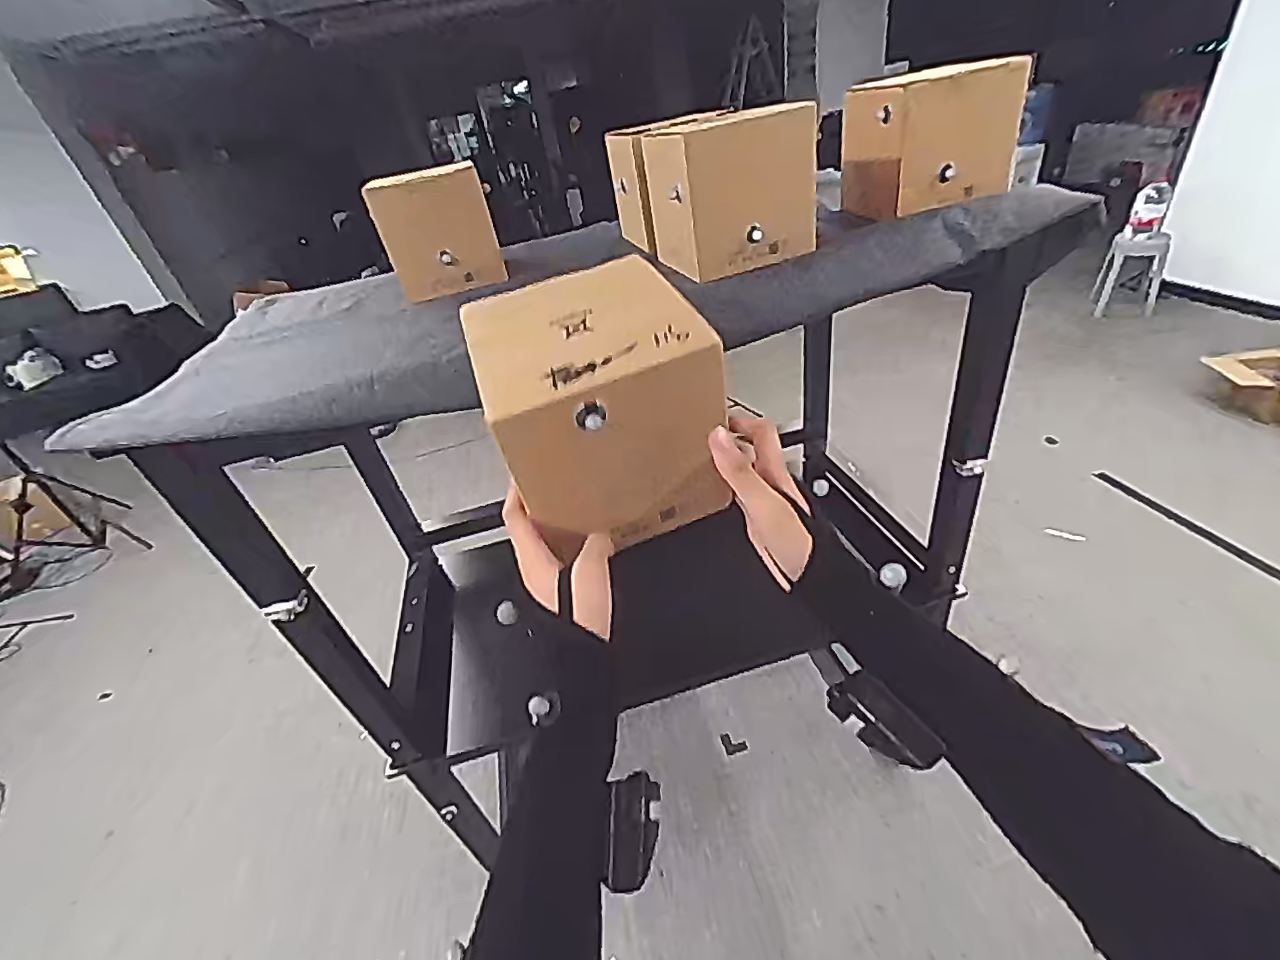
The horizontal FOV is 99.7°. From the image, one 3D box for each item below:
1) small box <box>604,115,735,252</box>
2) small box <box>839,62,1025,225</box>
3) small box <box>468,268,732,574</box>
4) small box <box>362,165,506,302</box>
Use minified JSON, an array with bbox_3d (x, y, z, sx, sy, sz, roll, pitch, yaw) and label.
[{"bbox_3d":[0.051,-0.494,0.907,0.168,0.176,0.179,-17,34,-8],"label":"small box"},{"bbox_3d":[0.404,-0.484,0.788,0.168,0.176,0.179,-14,35,-2],"label":"small box"},{"bbox_3d":[-0.032,-0.053,0.467,0.168,0.176,0.179,-21,44,-7],"label":"small box"},{"bbox_3d":[-0.332,-0.410,0.898,0.168,0.176,0.179,-18,36,-8],"label":"small box"}]
